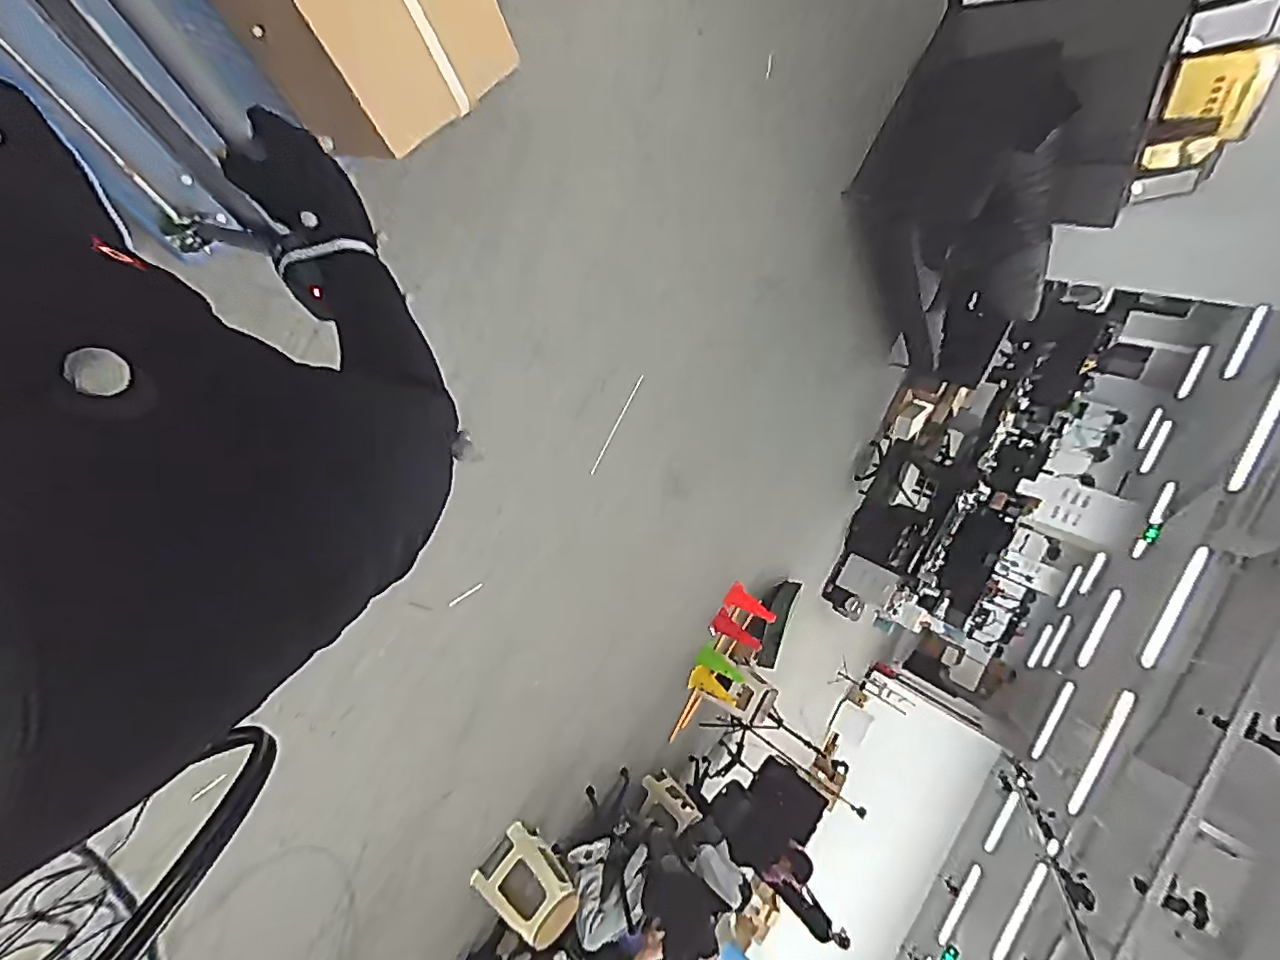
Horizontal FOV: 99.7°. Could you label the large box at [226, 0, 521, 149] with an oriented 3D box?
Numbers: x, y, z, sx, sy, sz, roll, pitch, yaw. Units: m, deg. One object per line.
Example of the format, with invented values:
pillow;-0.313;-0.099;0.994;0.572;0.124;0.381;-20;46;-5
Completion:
large box;-0.479;-0.831;0.882;0.320;0.320;0.408;-51;142;-15
